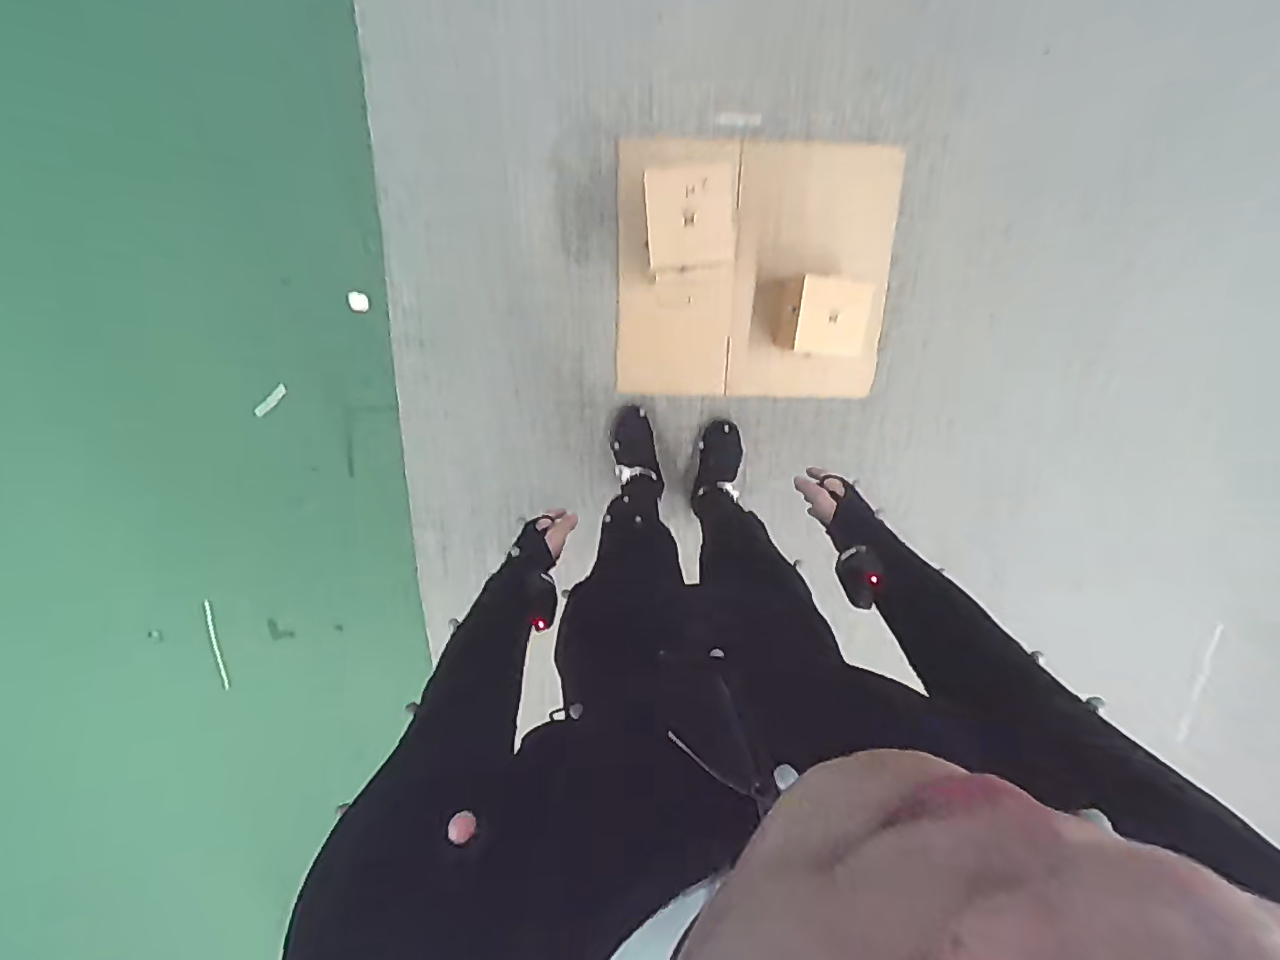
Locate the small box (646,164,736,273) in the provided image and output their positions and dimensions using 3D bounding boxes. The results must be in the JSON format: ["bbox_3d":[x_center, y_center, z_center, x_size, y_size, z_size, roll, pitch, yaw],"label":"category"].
[{"bbox_3d":[0.101,-0.525,1.108,0.168,0.176,0.179,-5,106,0],"label":"small box"}]

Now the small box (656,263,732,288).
[{"bbox_3d":[0.118,-0.557,1.271,0.168,0.176,0.179,-6,106,1],"label":"small box"}]

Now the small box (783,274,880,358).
[{"bbox_3d":[0.457,-0.398,1.320,0.168,0.176,0.179,4,105,-1],"label":"small box"}]
